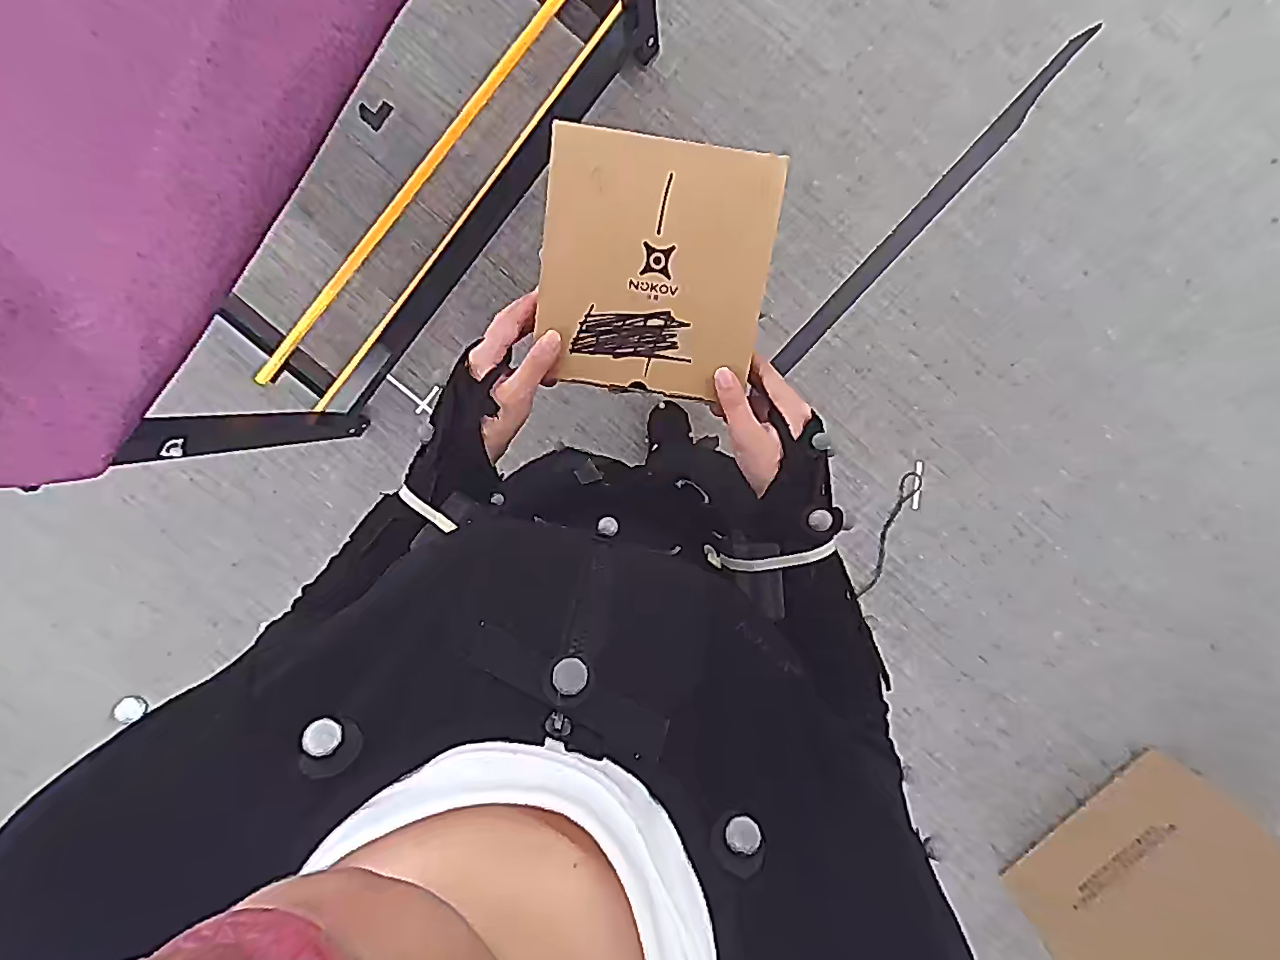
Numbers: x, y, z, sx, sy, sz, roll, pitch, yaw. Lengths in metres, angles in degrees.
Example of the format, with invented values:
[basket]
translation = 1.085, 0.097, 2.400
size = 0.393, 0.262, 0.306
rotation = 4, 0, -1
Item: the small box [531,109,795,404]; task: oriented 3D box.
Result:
[small box]
translation = 0.013, -0.171, 0.457
size = 0.168, 0.176, 0.179
rotation = 8, 104, -2
